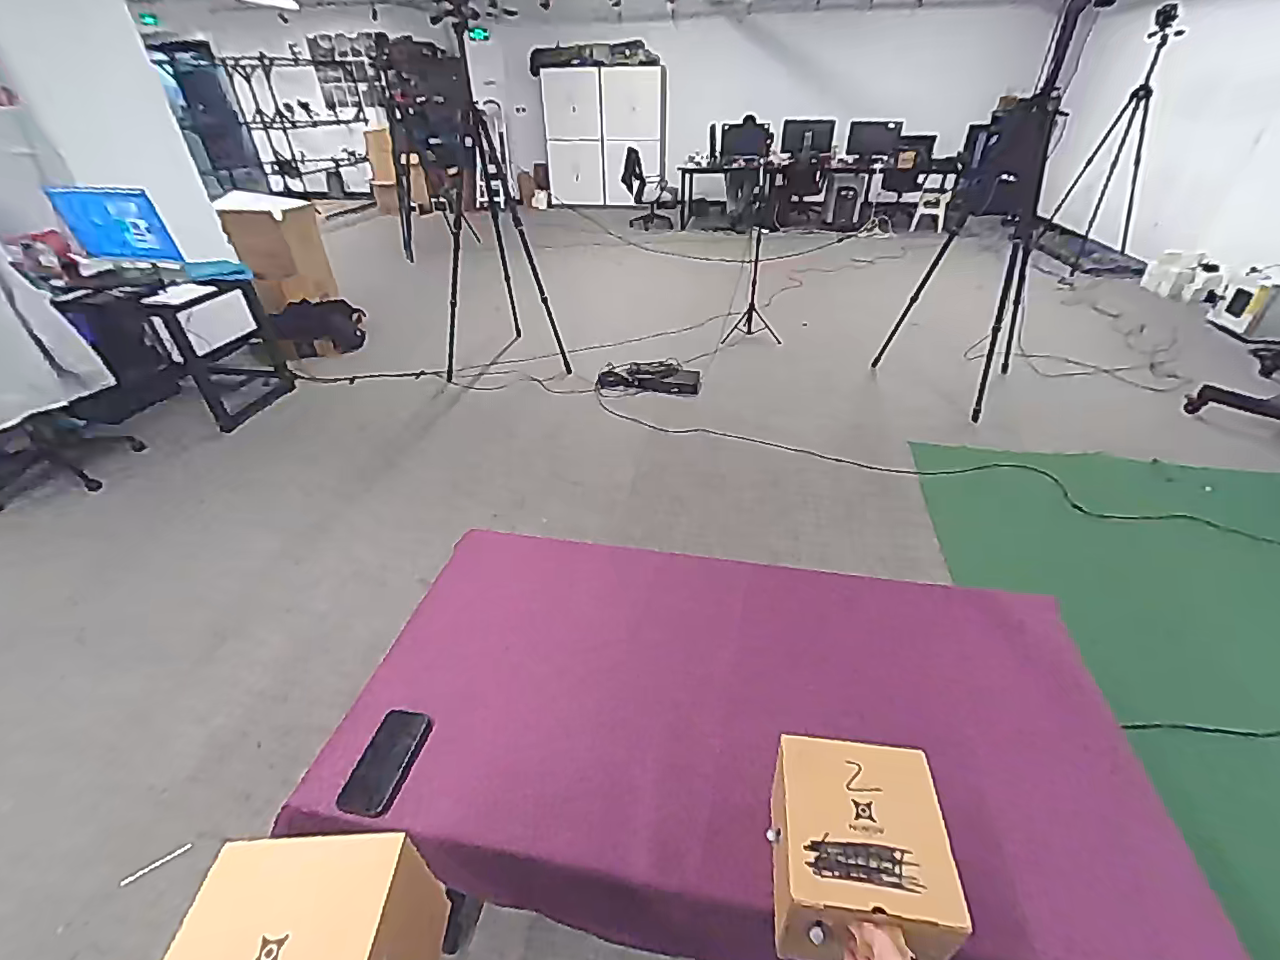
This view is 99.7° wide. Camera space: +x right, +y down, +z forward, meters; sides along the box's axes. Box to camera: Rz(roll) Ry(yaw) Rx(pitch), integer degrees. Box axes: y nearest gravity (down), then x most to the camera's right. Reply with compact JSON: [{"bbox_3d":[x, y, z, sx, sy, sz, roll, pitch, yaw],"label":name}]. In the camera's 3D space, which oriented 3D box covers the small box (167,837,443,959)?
[{"bbox_3d":[-0.283,0.440,0.462,0.168,0.176,0.179,-2,35,0],"label":"small box"}]
